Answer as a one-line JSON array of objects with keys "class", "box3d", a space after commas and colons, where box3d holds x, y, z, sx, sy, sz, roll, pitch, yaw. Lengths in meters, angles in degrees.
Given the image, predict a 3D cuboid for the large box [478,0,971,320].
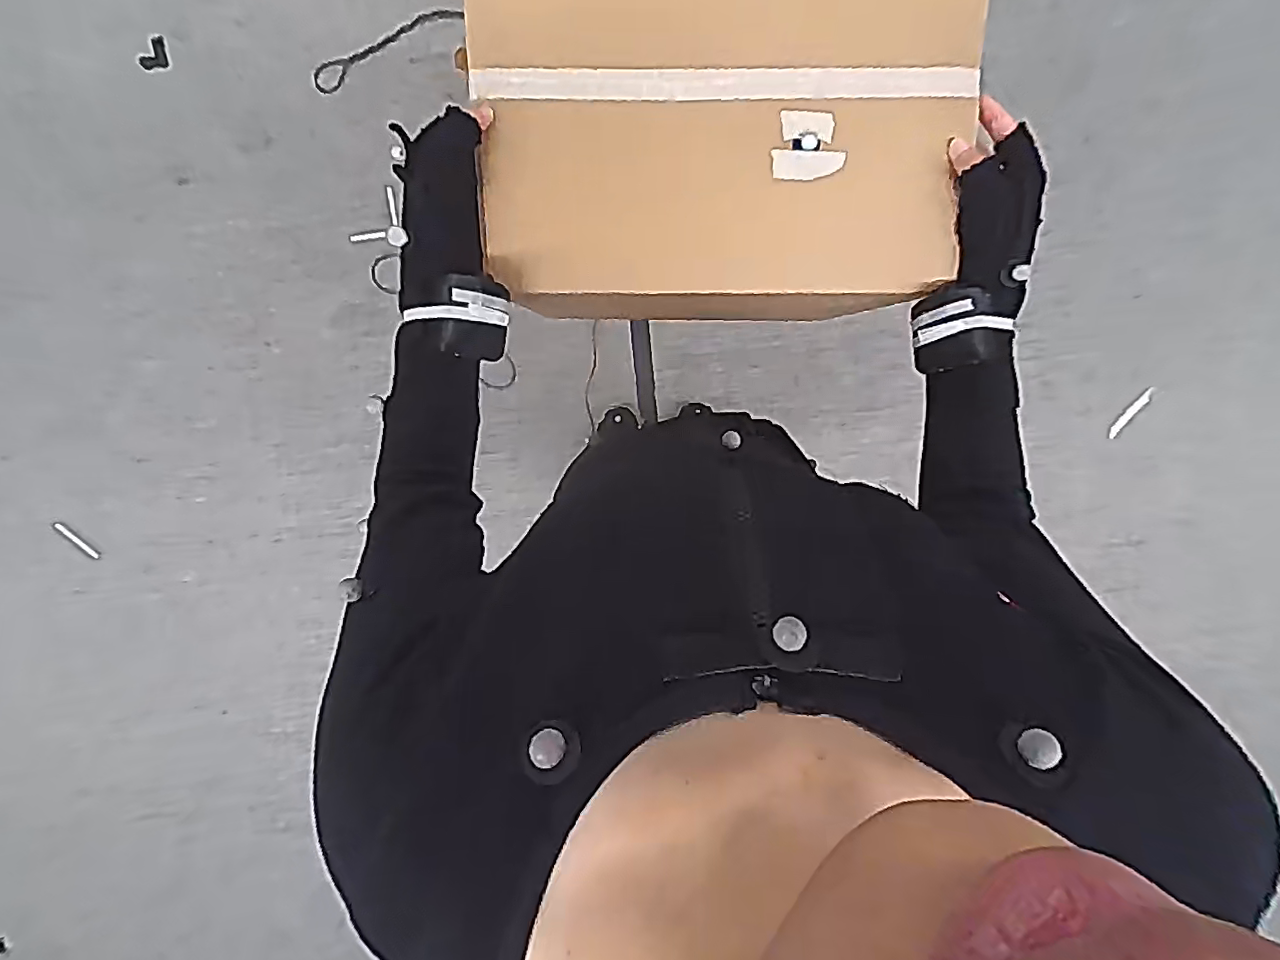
[{"class": "large box", "box3d": [0.065, -0.352, 0.595, 0.408, 0.320, 0.320, 0, 103, -1]}]
